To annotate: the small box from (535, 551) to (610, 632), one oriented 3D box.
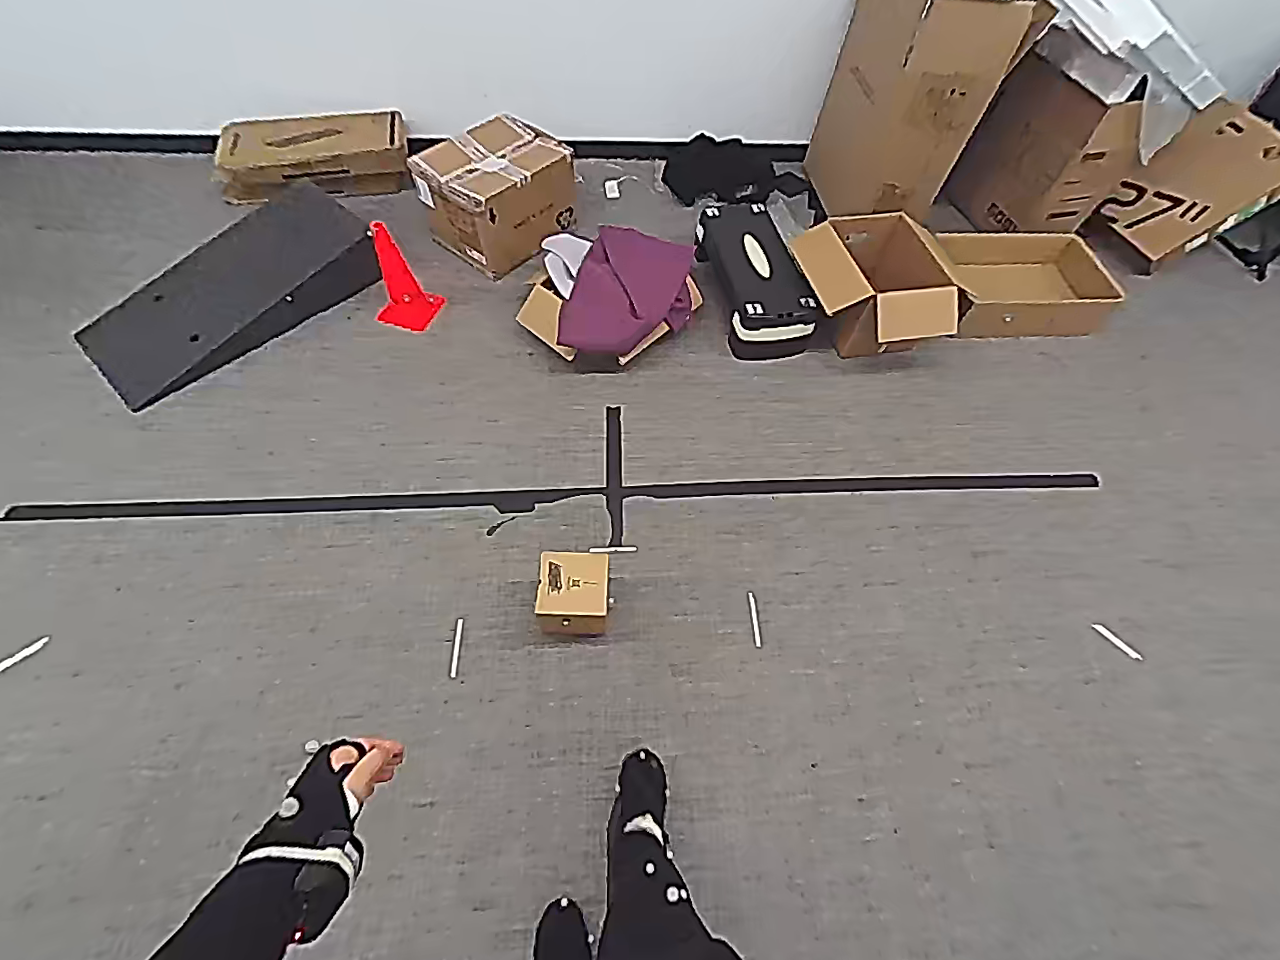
[{"bbox_3d":[-0.170,0.296,1.417,0.179,0.176,0.168,2,59,-2],"label":"small box"}]
